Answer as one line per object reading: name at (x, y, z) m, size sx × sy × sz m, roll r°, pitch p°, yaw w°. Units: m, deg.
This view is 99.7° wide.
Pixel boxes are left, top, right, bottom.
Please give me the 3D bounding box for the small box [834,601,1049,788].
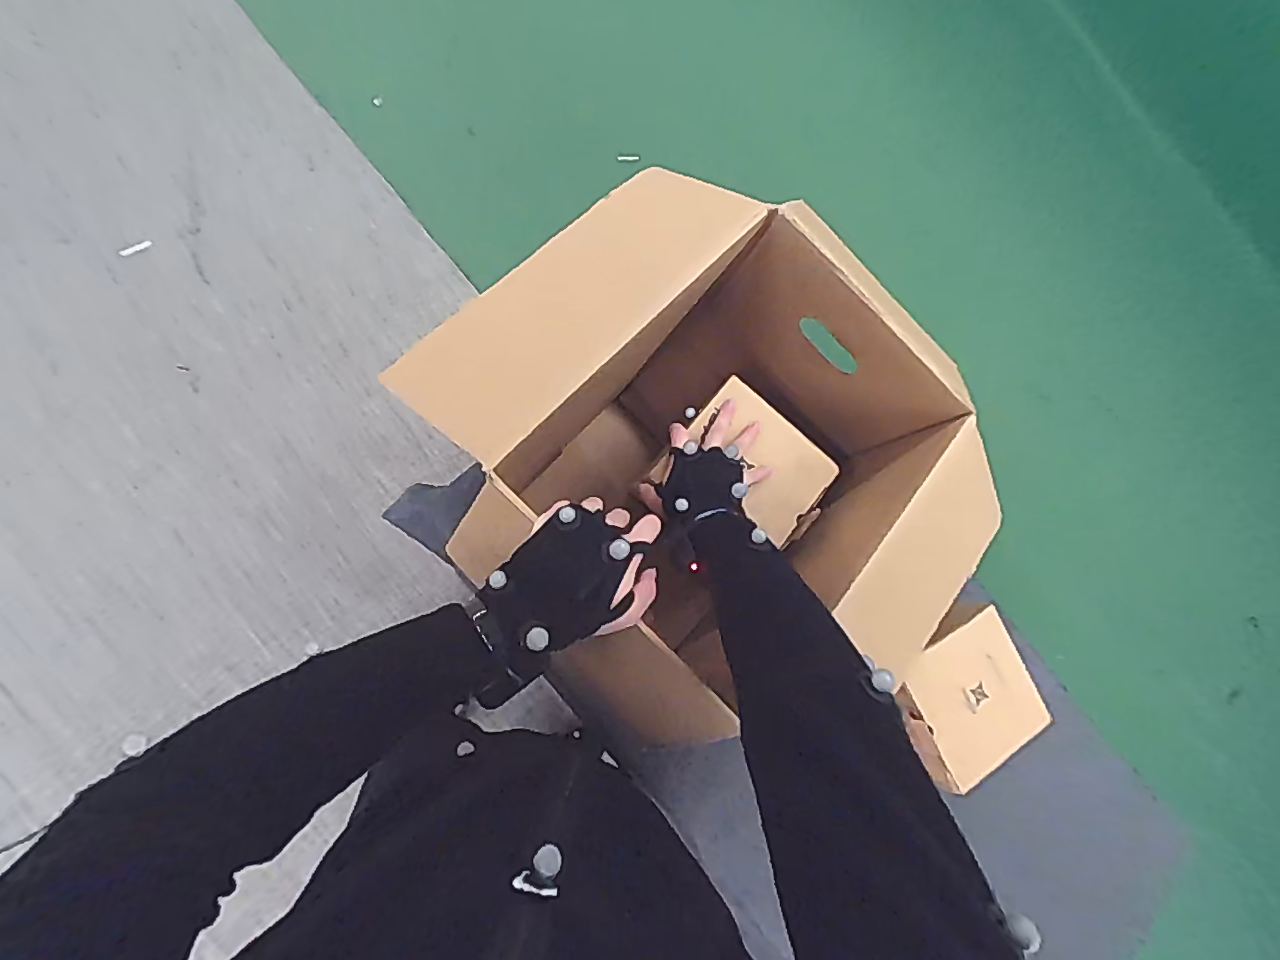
small box at (0.399, 0.280, 0.751) m, size 0.179 × 0.176 × 0.168 m, roll -24°, pitch 87°, yaw -19°
